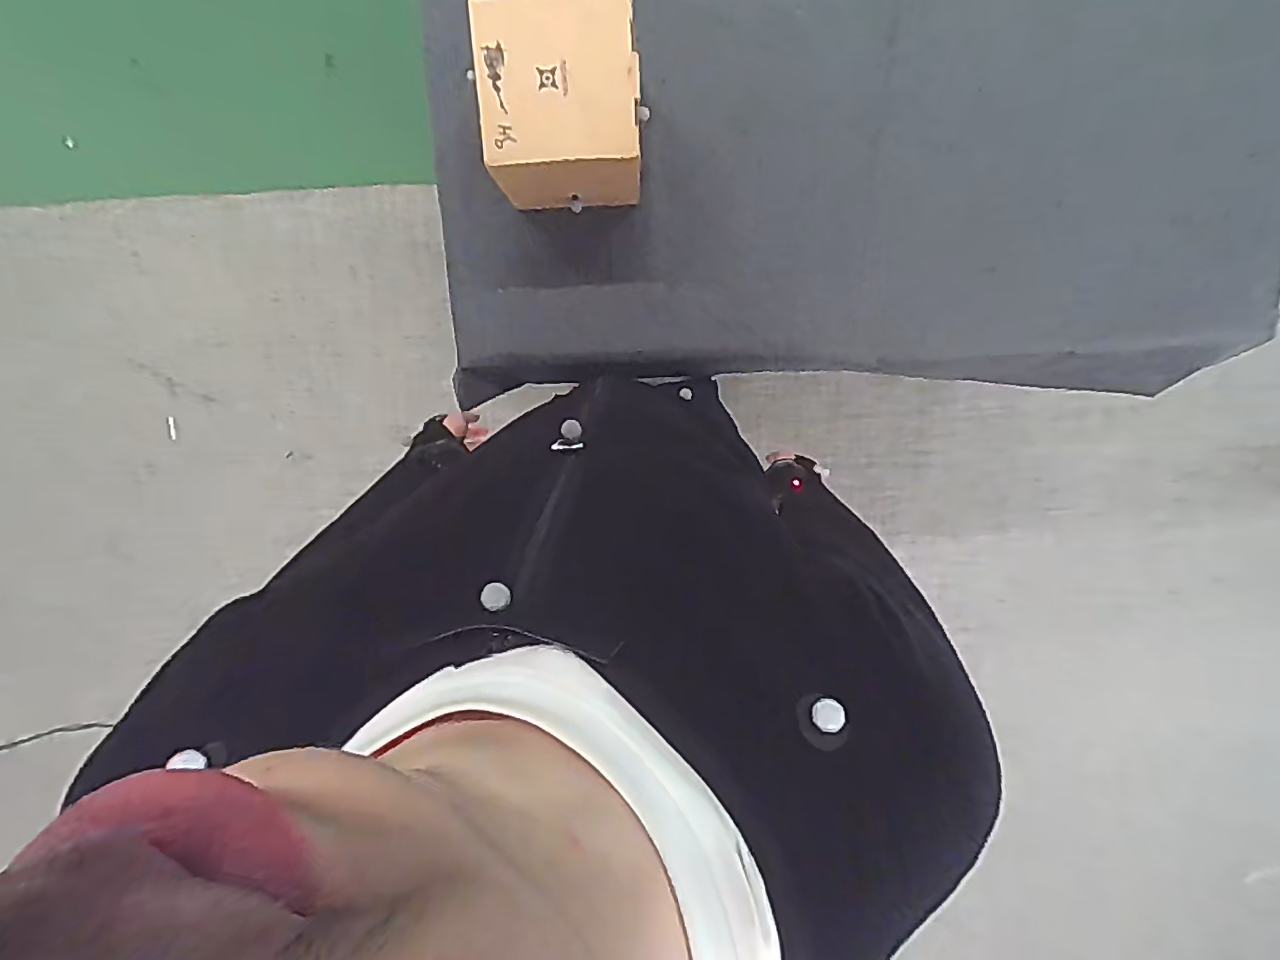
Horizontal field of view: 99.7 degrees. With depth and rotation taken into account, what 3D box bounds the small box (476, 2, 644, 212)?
[{"bbox_3d":[-0.089,-0.445,0.672,0.179,0.176,0.168,-3,101,-1],"label":"small box"}]
